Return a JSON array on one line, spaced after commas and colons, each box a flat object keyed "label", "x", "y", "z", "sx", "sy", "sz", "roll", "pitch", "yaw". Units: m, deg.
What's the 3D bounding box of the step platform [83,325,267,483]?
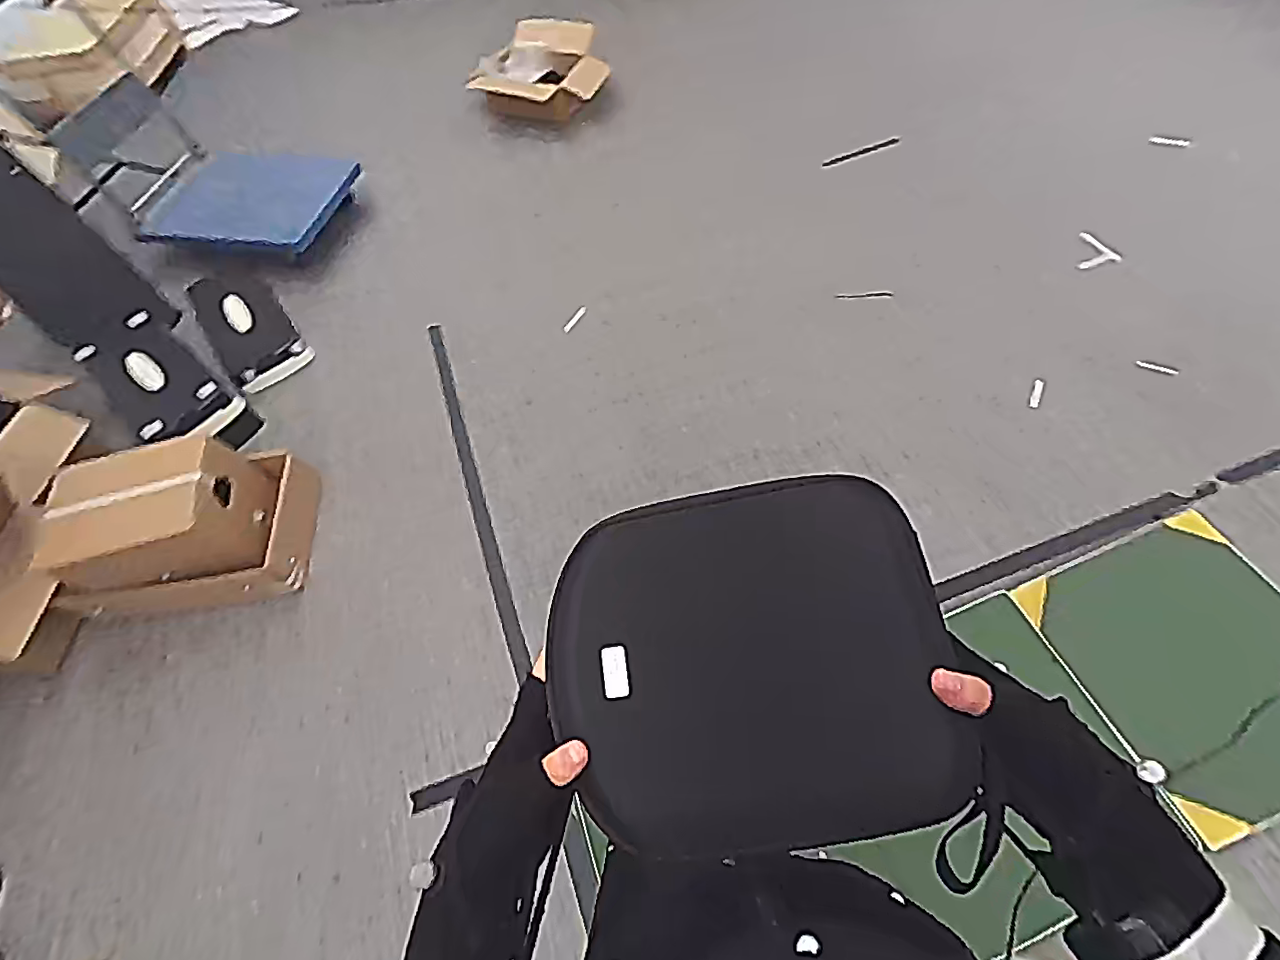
[{"label": "step platform", "x": -1.665, "y": -0.287, "z": 1.932, "sx": 0.684, "sy": 0.204, "sz": 0.286, "roll": 34, "pitch": 69, "yaw": 21}]
